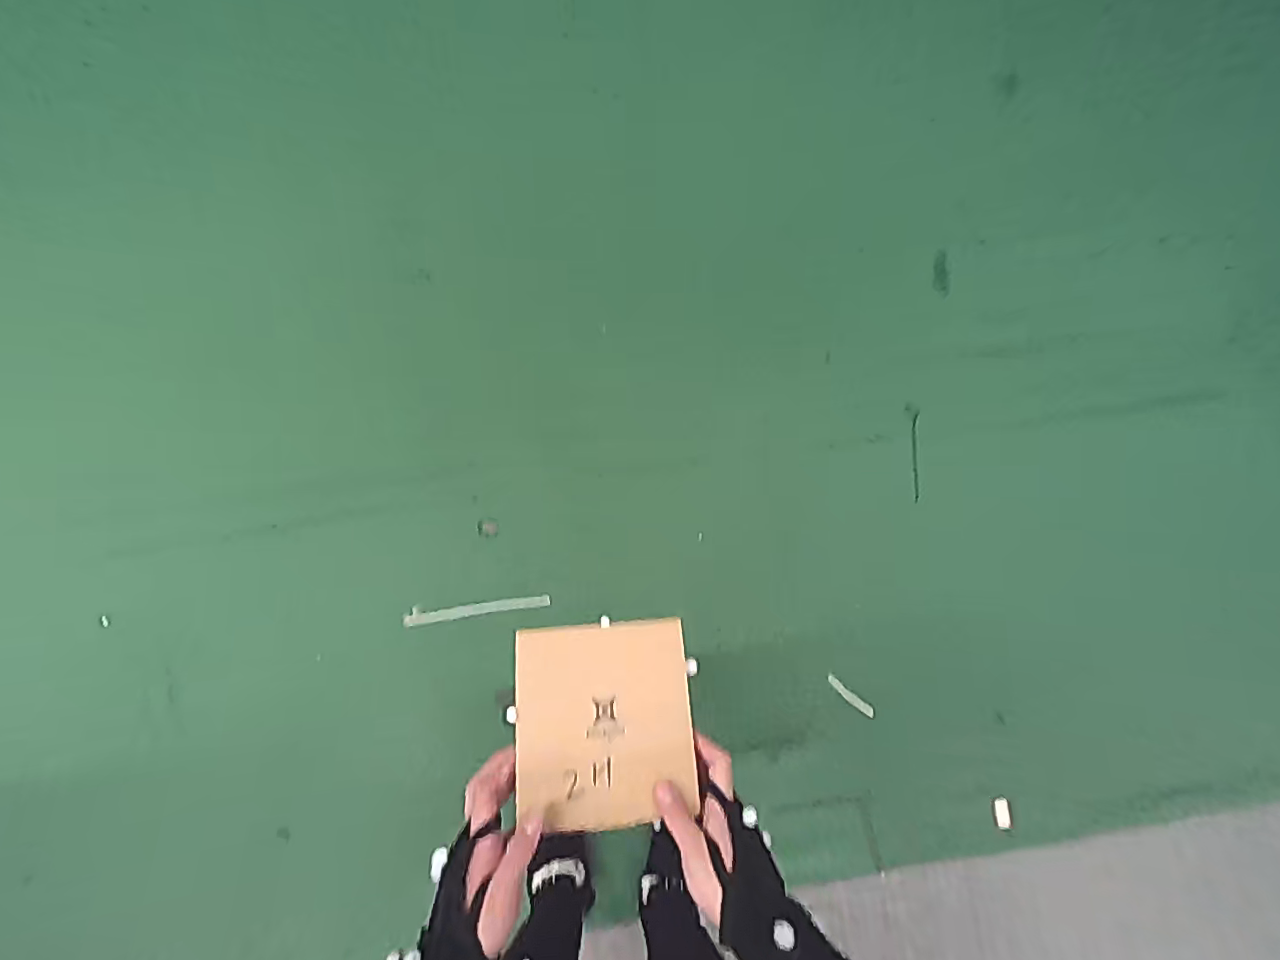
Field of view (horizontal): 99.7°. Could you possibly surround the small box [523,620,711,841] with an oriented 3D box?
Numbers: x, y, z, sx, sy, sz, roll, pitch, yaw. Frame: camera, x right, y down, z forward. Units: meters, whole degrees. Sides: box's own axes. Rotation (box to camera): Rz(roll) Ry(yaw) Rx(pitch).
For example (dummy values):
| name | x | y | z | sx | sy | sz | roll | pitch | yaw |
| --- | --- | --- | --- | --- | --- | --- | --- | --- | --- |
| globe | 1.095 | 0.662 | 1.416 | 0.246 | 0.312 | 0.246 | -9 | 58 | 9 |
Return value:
| name | x | y | z | sx | sy | sz | roll | pitch | yaw |
| --- | --- | --- | --- | --- | --- | --- | --- | --- | --- |
| small box | -0.030 | 0.252 | 0.568 | 0.168 | 0.176 | 0.179 | -3 | 69 | -5 |
